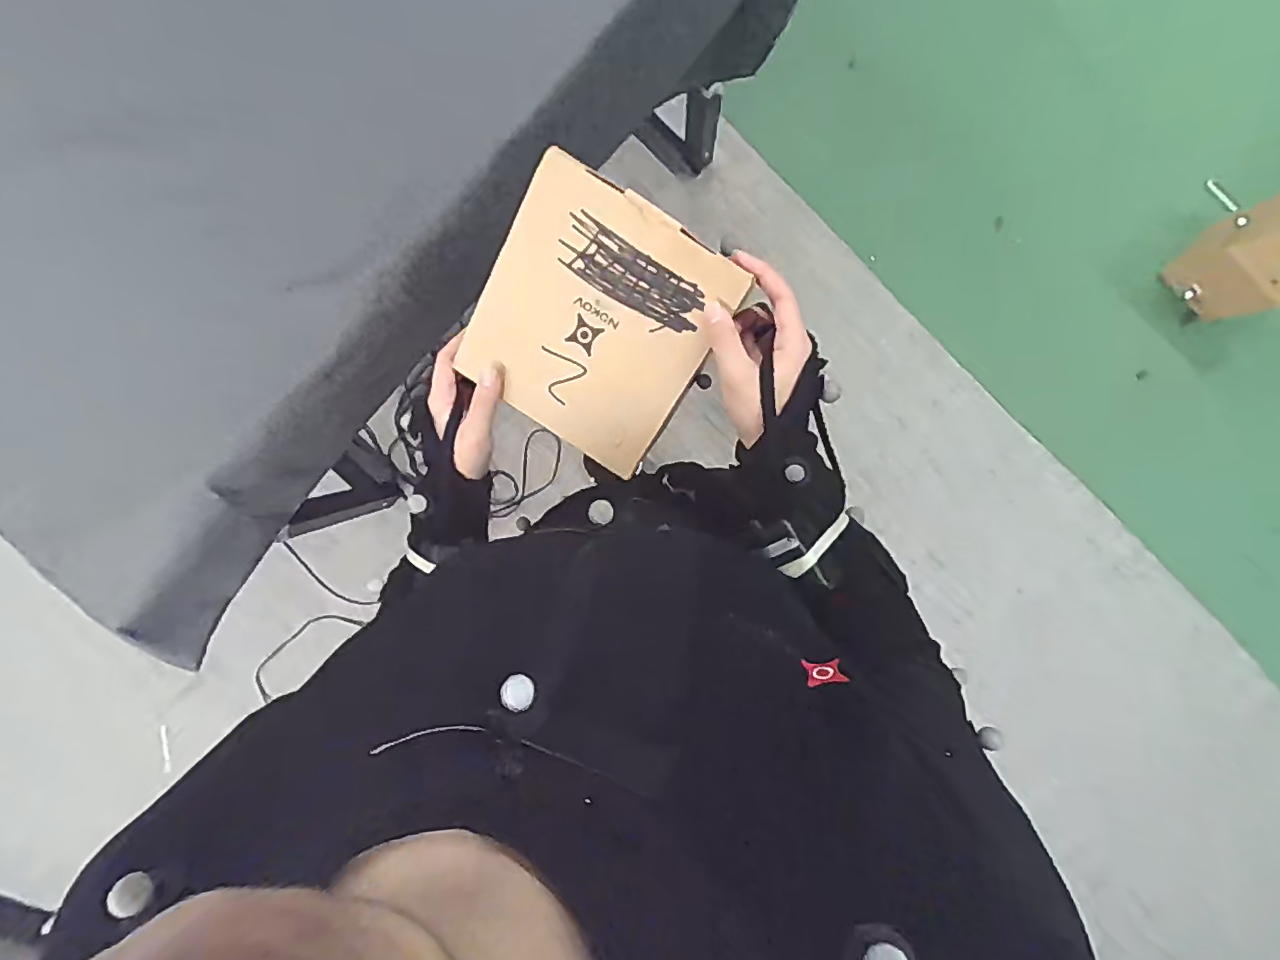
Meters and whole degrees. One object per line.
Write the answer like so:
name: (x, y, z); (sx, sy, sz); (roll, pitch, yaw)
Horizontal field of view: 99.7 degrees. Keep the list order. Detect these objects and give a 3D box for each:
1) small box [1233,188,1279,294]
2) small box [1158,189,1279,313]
small box: (1.289, -0.477, 1.008); (0.168, 0.176, 0.179); (43, 96, -2)
small box: (1.306, -0.492, 1.170); (0.168, 0.176, 0.179); (44, 97, -2)
